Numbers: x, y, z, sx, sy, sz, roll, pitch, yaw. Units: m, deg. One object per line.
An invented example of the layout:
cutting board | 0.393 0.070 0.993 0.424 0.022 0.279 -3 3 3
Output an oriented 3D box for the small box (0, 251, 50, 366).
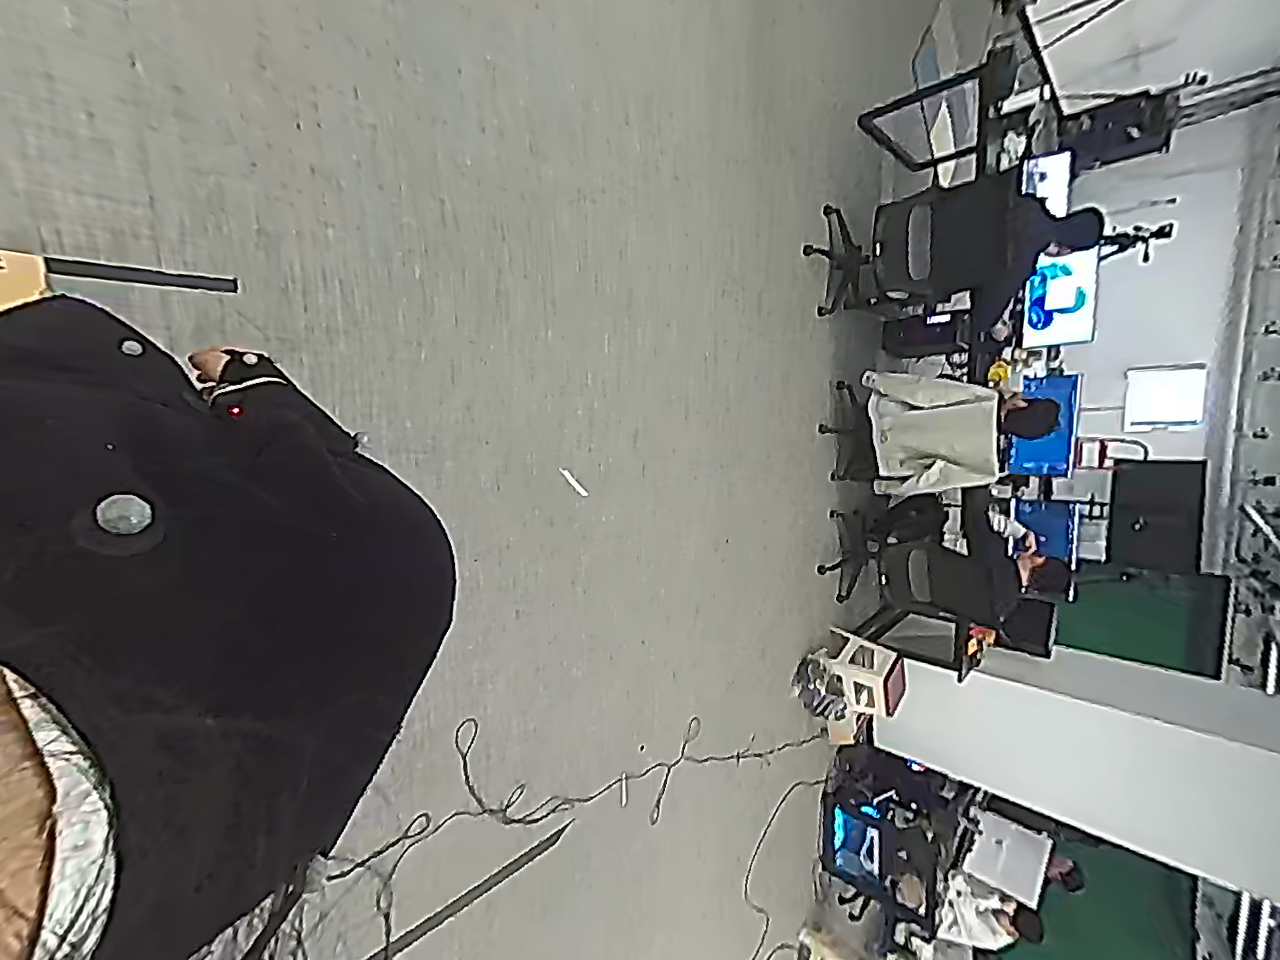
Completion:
small box | -1.117 -0.288 0.905 0.168 0.176 0.179 -6 99 -47
